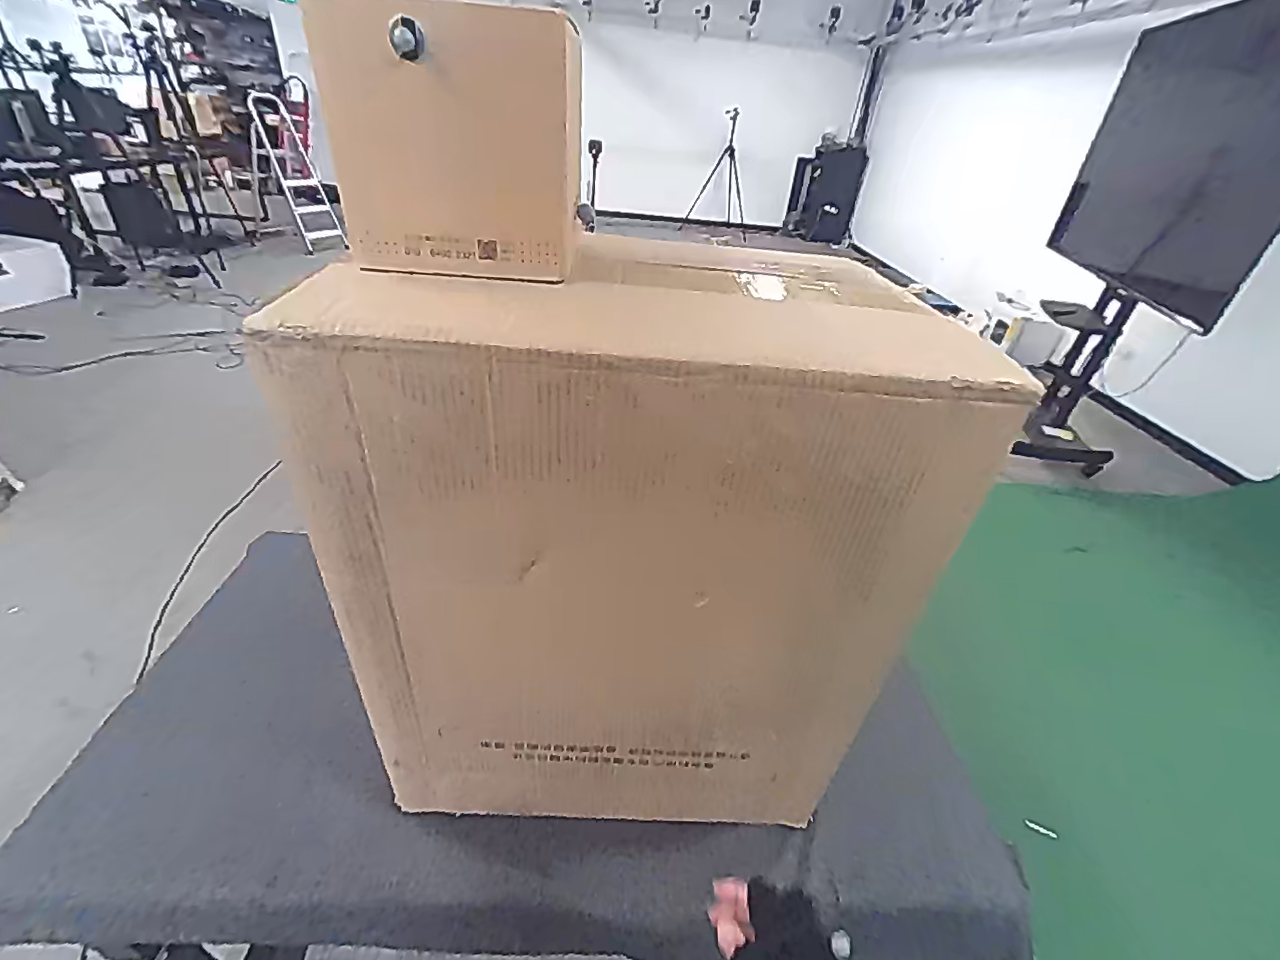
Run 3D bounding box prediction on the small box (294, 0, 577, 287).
[{"bbox_3d":[-0.141,-0.272,0.449,0.168,0.176,0.179,2,35,-3],"label":"small box"}]
